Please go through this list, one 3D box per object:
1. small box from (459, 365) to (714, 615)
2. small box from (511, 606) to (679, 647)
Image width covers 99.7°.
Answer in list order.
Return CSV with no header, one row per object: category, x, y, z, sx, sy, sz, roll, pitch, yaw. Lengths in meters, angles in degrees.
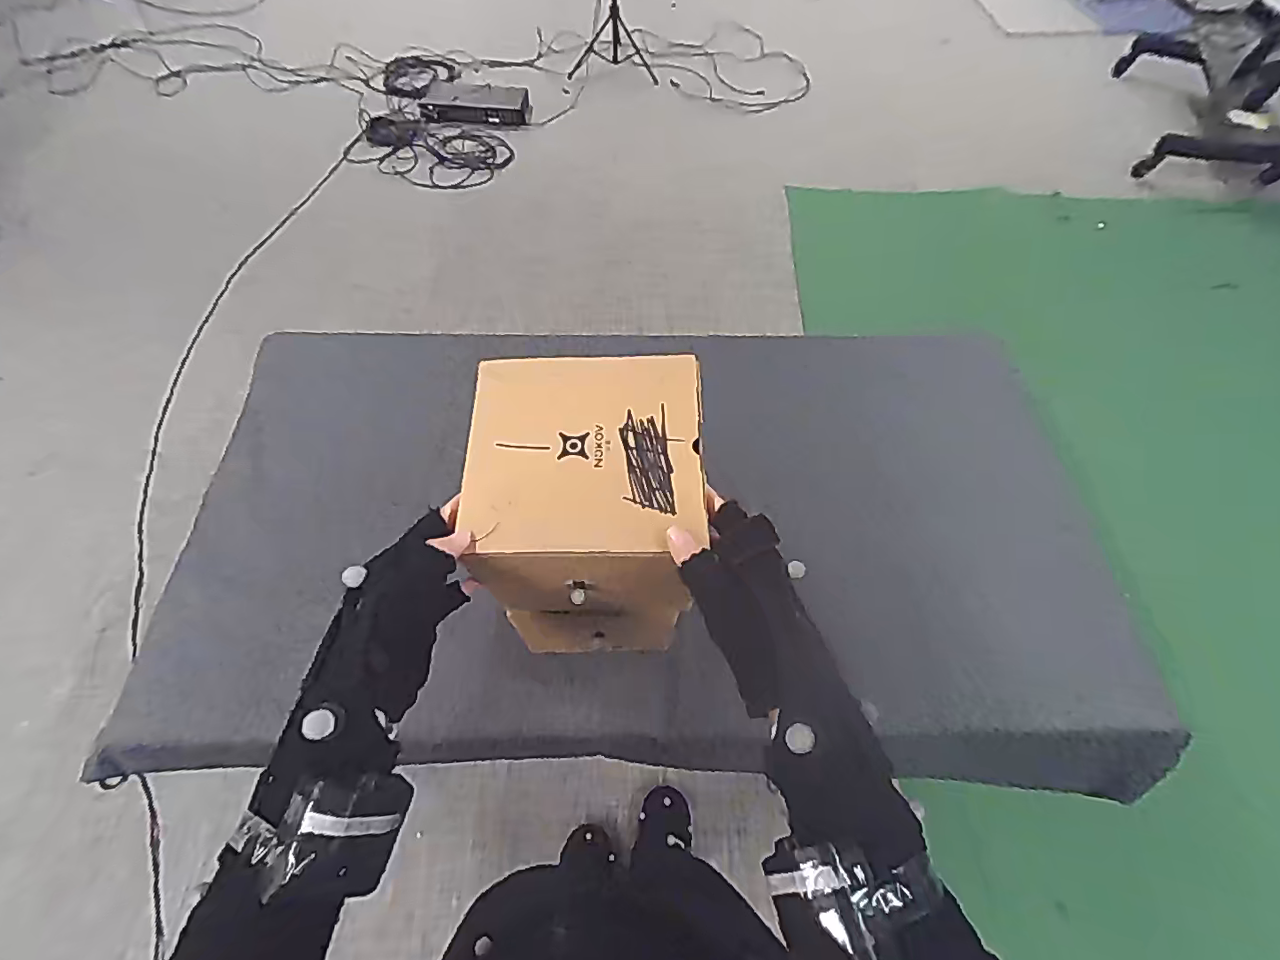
small box,-0.035,0.018,0.472,0.179,0.176,0.168,-1,64,1
small box,-0.044,0.091,0.622,0.168,0.176,0.179,-1,61,-2
